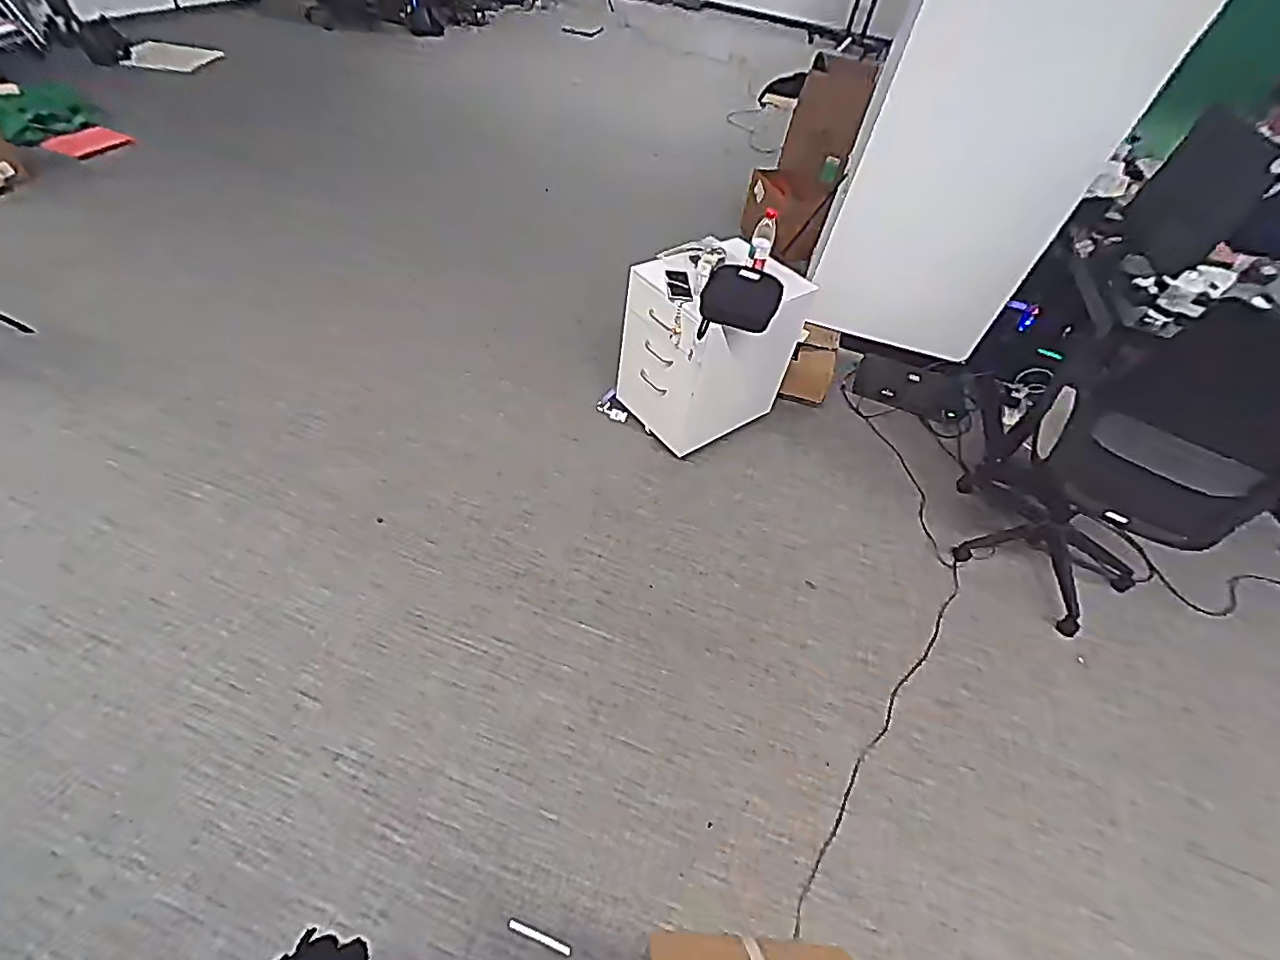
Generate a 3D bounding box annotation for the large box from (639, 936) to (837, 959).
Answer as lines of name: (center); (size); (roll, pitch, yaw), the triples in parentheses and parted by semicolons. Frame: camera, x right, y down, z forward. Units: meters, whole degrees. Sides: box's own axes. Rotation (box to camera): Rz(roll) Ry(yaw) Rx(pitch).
large box: (0.156, 0.814, 0.611); (0.320, 0.408, 0.320); (7, 74, -3)
